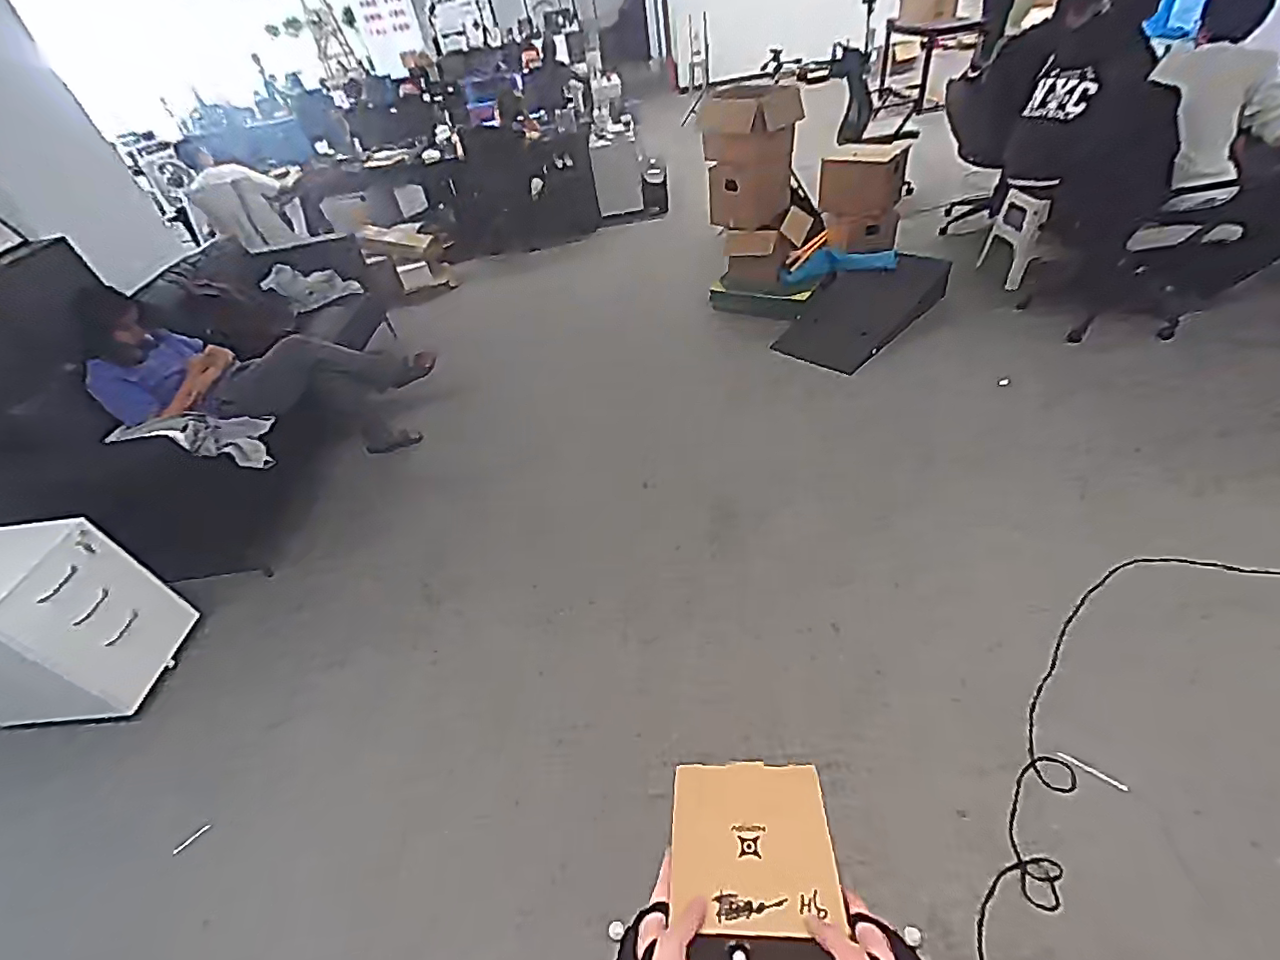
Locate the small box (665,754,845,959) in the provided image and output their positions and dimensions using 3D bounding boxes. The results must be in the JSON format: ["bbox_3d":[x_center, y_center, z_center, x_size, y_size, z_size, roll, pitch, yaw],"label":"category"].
[{"bbox_3d":[0.125,0.439,0.604,0.168,0.176,0.179,-5,24,10],"label":"small box"}]
